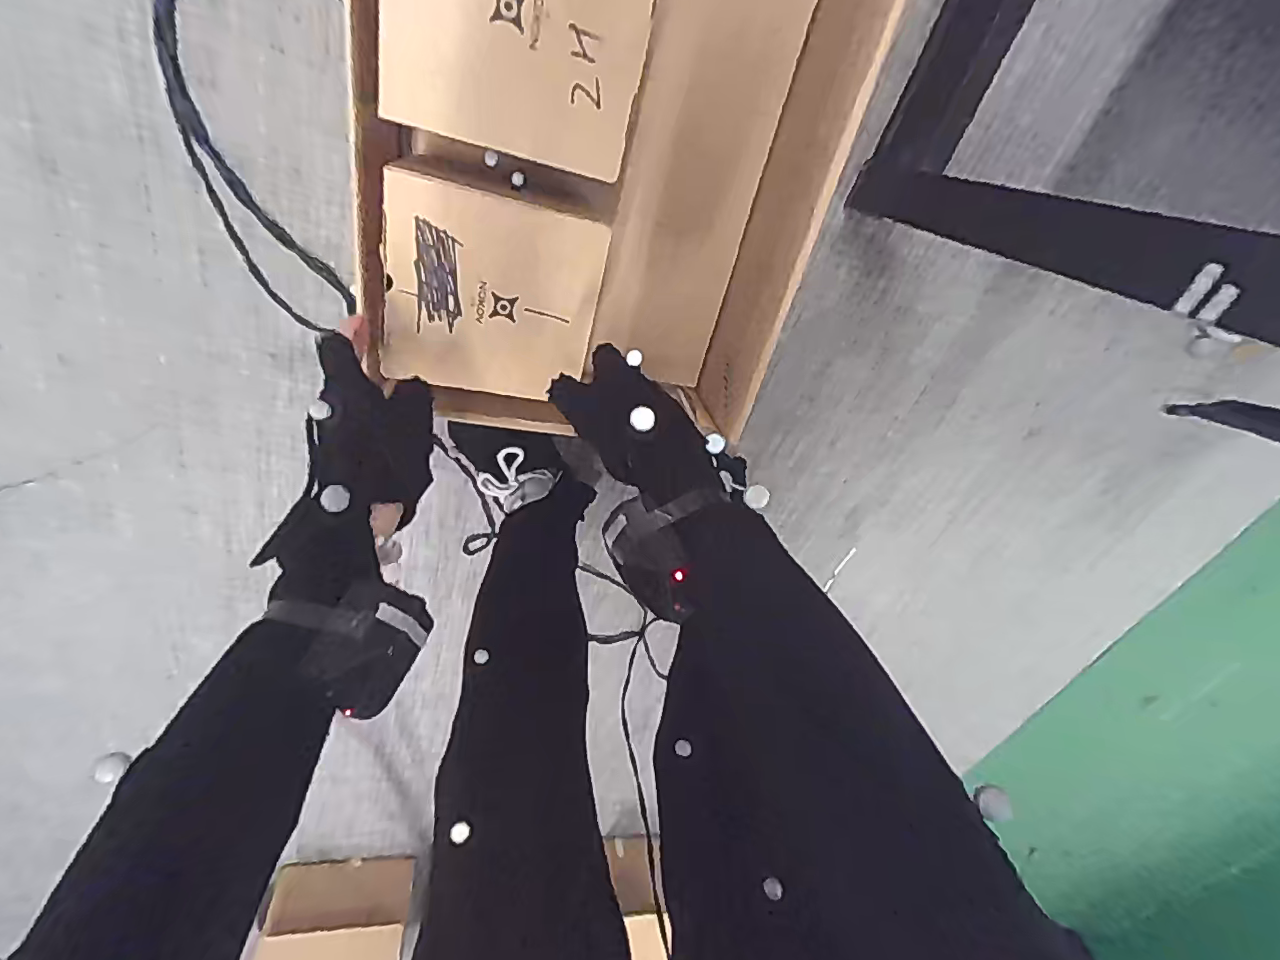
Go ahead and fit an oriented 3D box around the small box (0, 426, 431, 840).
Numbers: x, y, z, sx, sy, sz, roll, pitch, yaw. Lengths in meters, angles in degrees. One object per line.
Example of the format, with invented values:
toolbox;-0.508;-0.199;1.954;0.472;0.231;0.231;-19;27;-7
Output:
small box;-0.220;0.076;0.329;0.176;0.179;0.168;0;124;-19
